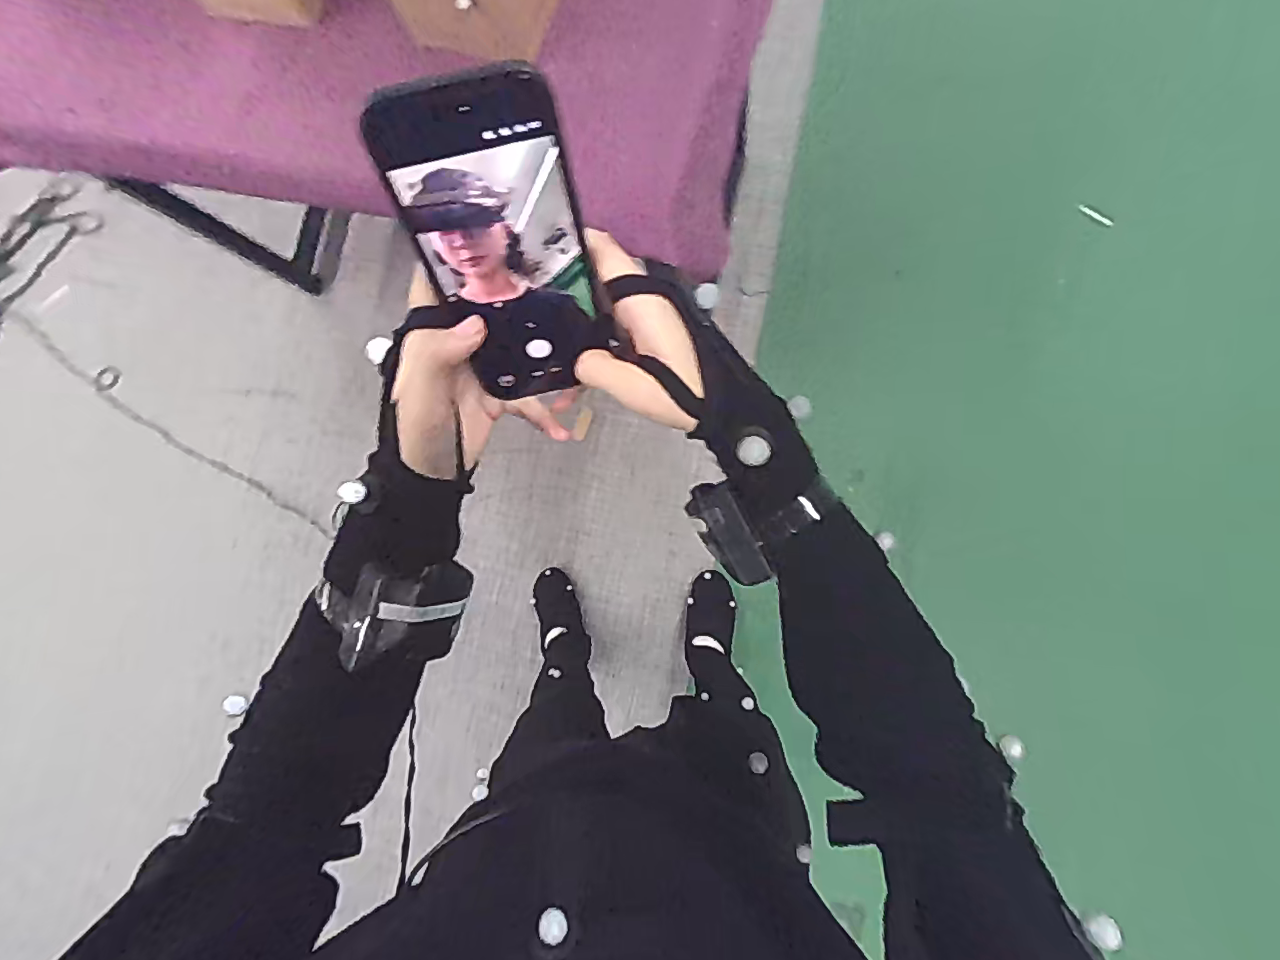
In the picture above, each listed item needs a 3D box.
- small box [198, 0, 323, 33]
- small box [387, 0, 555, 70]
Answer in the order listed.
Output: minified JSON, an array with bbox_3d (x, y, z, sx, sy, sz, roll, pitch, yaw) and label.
[{"bbox_3d":[-0.525,-0.730,0.699,0.179,0.176,0.168,14,87,11],"label":"small box"},{"bbox_3d":[-0.205,-0.632,0.636,0.179,0.176,0.168,21,88,11],"label":"small box"}]
